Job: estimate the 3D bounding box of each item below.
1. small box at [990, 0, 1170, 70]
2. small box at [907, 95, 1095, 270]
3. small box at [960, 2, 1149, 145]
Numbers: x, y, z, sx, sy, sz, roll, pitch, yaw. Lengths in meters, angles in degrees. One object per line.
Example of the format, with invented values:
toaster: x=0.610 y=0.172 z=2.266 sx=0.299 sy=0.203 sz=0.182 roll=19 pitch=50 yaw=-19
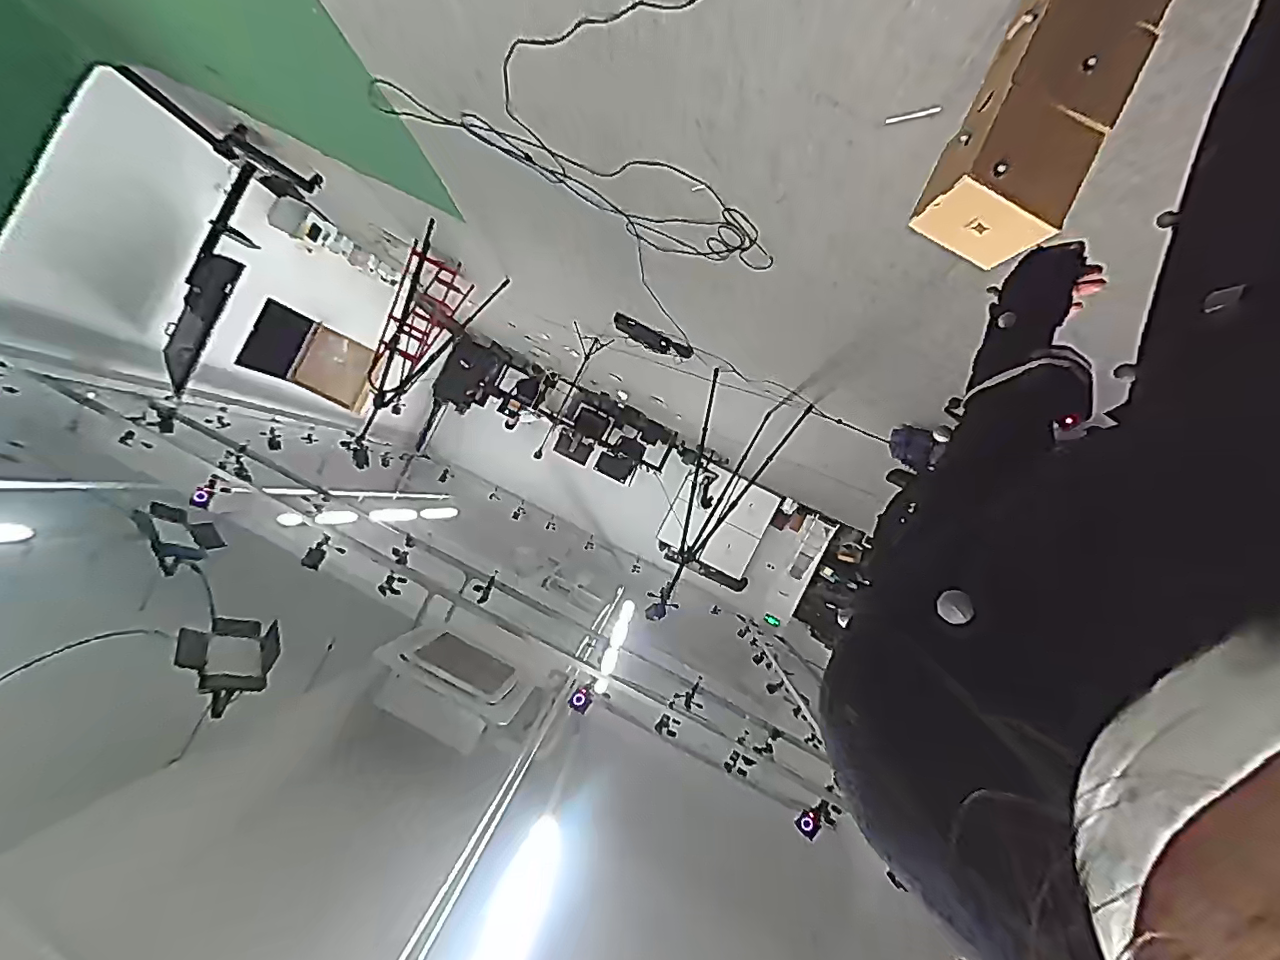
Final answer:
small box: x=0.754 y=-0.794 z=0.912 sx=0.179 sy=0.176 sz=0.168 roll=28 pitch=-178 yaw=4
small box: x=0.608 y=-0.498 z=0.920 sx=0.179 sy=0.176 sz=0.168 roll=28 pitch=179 yaw=-4
small box: x=0.683 y=-0.643 z=0.914 sx=0.179 sy=0.176 sz=0.168 roll=26 pitch=179 yaw=1
